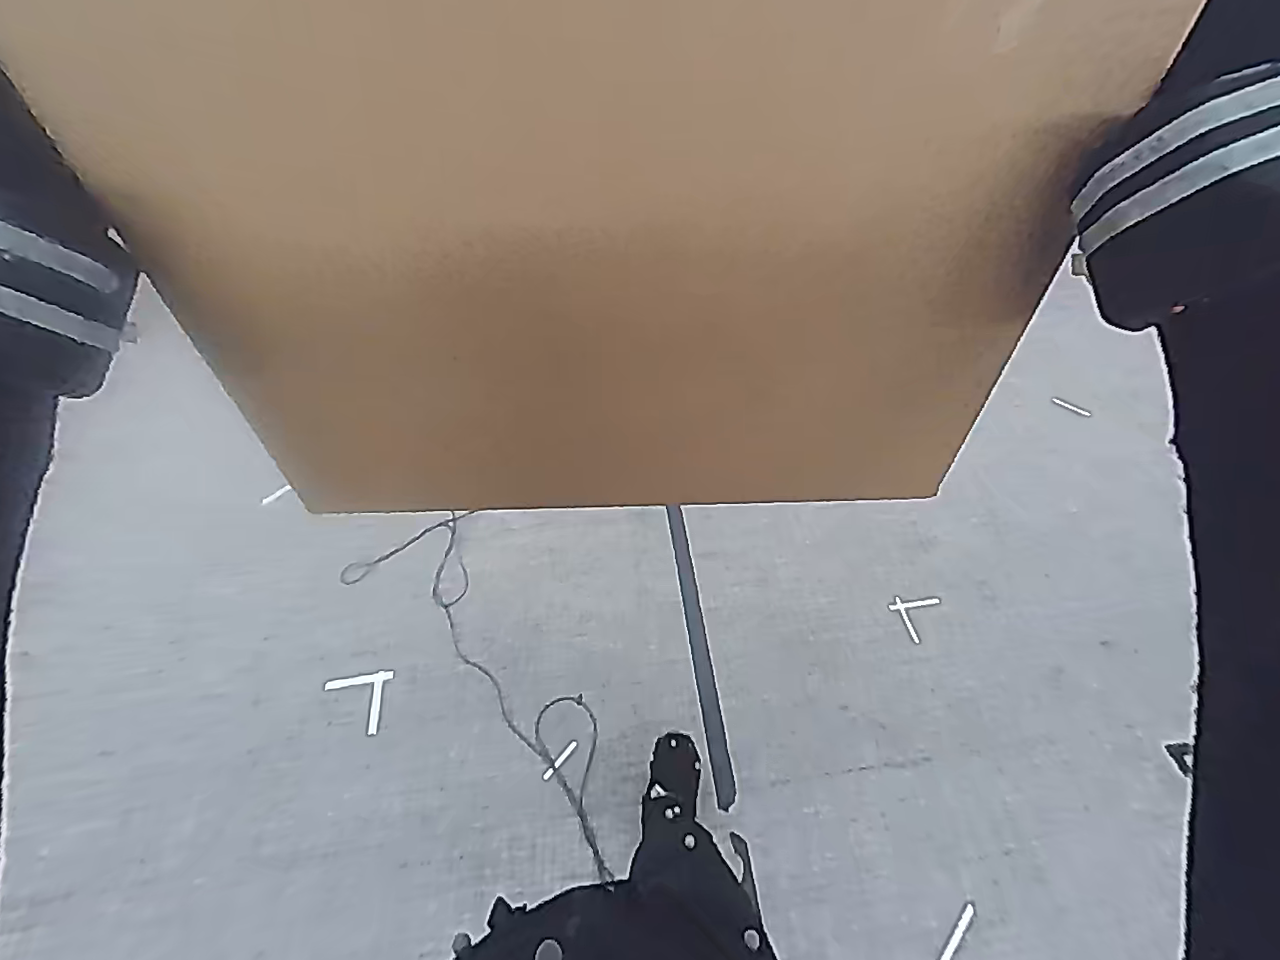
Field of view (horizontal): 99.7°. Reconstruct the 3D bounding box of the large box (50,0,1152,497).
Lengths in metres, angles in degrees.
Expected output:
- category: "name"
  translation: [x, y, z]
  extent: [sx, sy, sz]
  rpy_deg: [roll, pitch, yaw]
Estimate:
- category: "large box"
  translation: [-0.015, -0.205, 0.363]
  extent: [0.408, 0.320, 0.320]
  rpy_deg: [-1, 45, -2]
